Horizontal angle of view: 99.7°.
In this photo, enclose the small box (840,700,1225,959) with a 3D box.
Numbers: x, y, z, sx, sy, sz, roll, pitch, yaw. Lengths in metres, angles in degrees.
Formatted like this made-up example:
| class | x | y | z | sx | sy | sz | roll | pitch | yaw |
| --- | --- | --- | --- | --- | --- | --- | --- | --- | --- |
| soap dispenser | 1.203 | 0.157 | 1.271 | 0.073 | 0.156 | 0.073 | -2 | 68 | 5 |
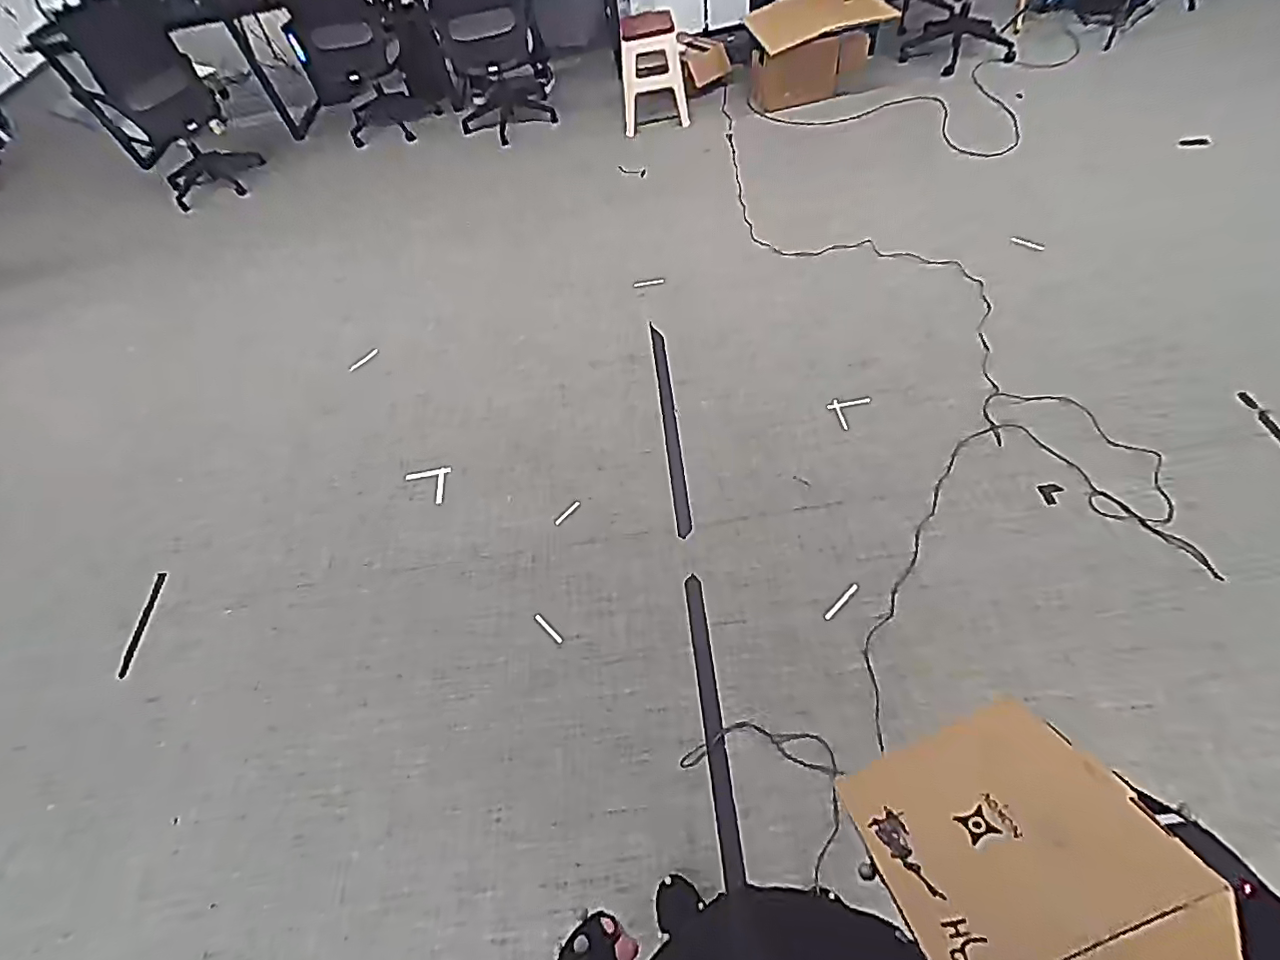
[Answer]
| class | x | y | z | sx | sy | sz | roll | pitch | yaw |
| --- | --- | --- | --- | --- | --- | --- | --- | --- | --- |
| small box | 0.295 | 0.322 | 0.427 | 0.179 | 0.176 | 0.168 | -28 | 19 | 3 |
